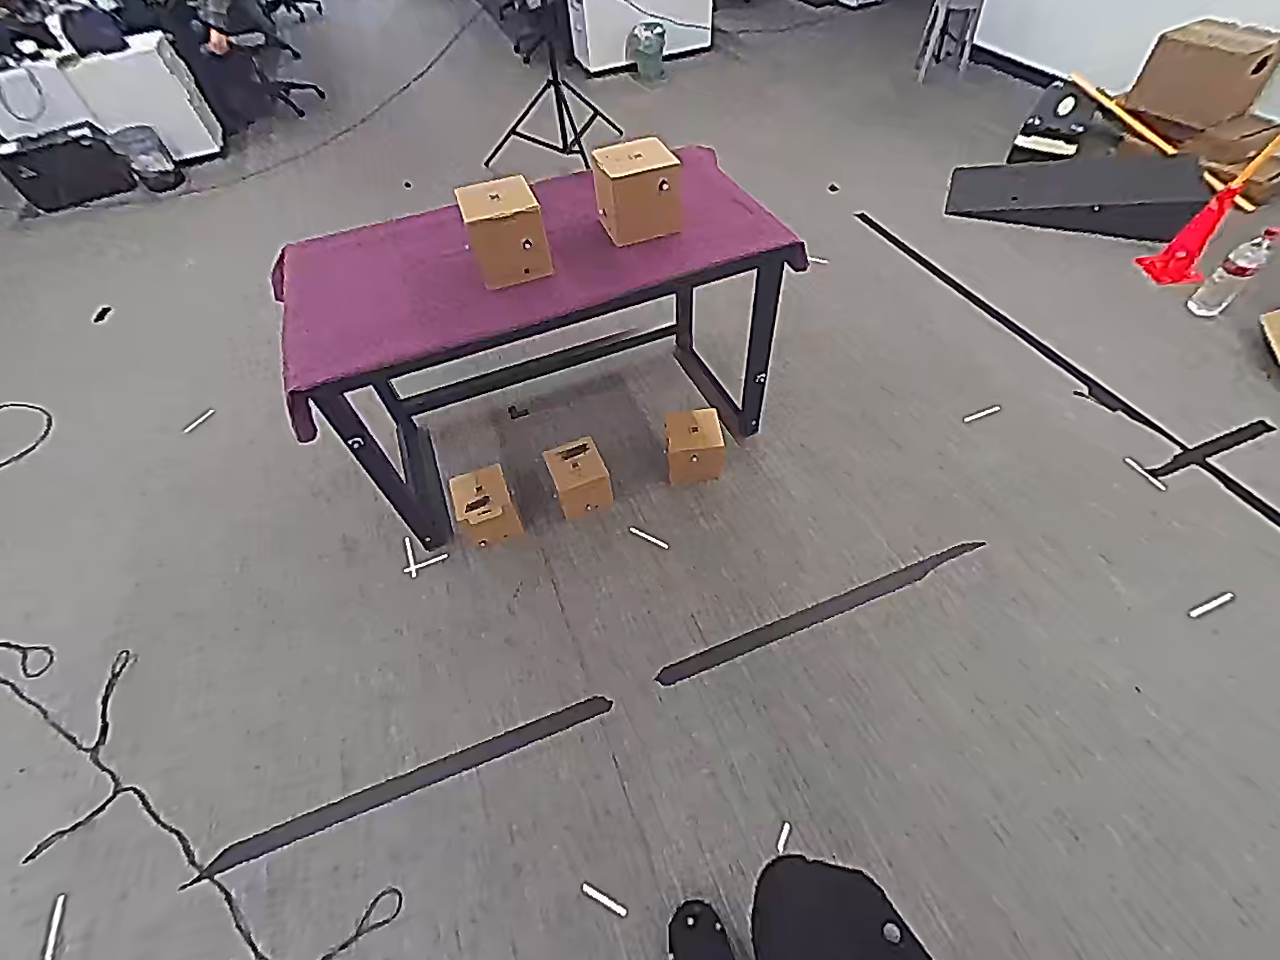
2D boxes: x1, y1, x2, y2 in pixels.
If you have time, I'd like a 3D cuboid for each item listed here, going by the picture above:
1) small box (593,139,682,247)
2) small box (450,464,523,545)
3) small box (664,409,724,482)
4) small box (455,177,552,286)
[{"bbox_3d":[-0.005,-0.714,1.348,0.179,0.176,0.168,-19,54,-9],"label":"small box"},{"bbox_3d":[-0.480,0.084,1.702,0.168,0.176,0.179,-19,53,-10],"label":"small box"},{"bbox_3d":[0.176,-0.111,1.800,0.179,0.176,0.168,-7,54,1],"label":"small box"},{"bbox_3d":[-0.316,-0.577,1.271,0.168,0.176,0.179,-18,52,-11],"label":"small box"}]
